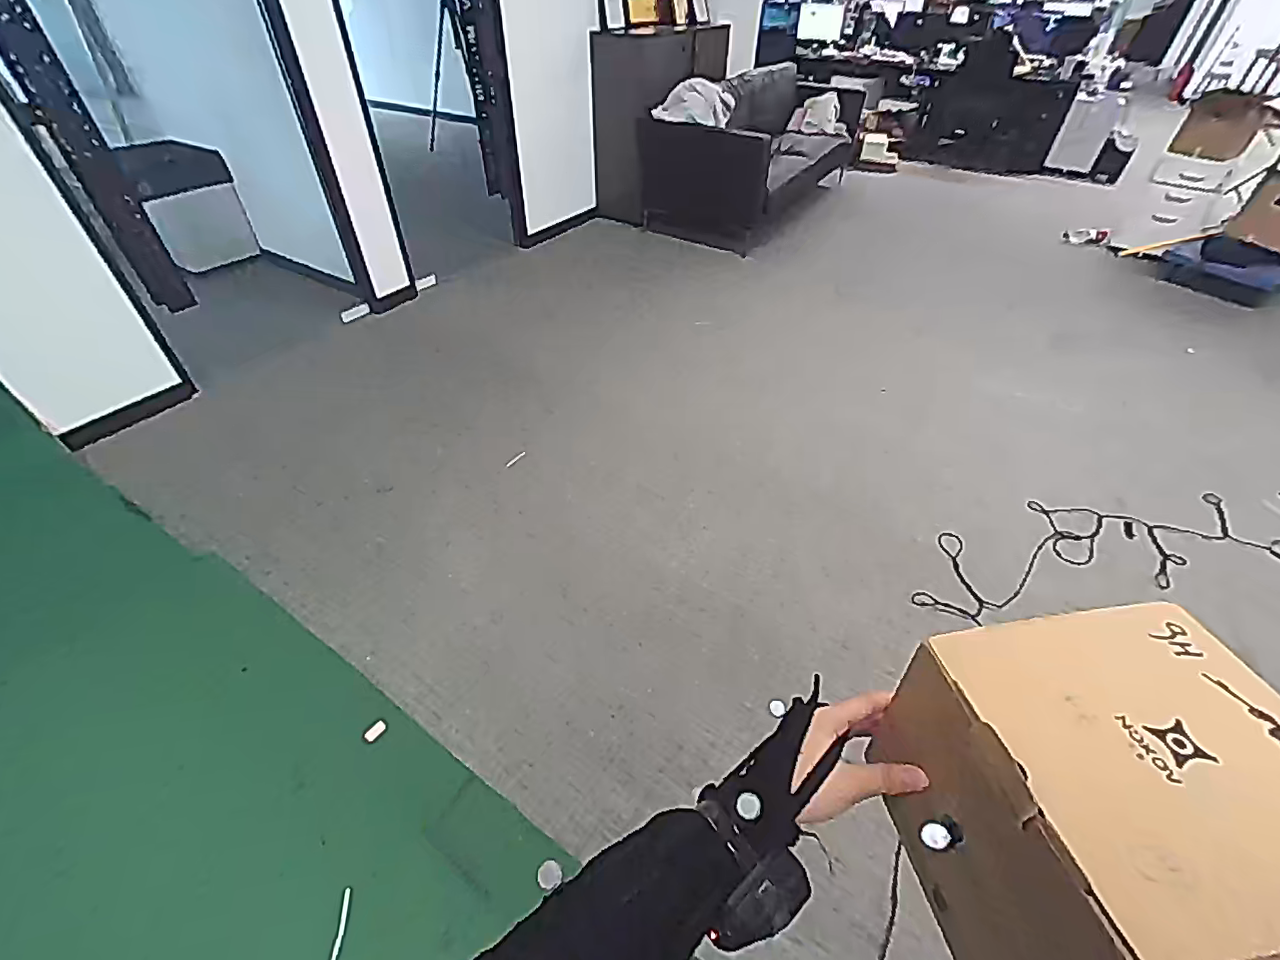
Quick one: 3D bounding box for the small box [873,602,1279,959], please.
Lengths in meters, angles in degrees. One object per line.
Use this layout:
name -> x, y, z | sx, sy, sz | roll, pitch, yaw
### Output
small box -> 0.270, 0.205, 0.343 | 0.179, 0.176, 0.168 | -7, 40, -4
